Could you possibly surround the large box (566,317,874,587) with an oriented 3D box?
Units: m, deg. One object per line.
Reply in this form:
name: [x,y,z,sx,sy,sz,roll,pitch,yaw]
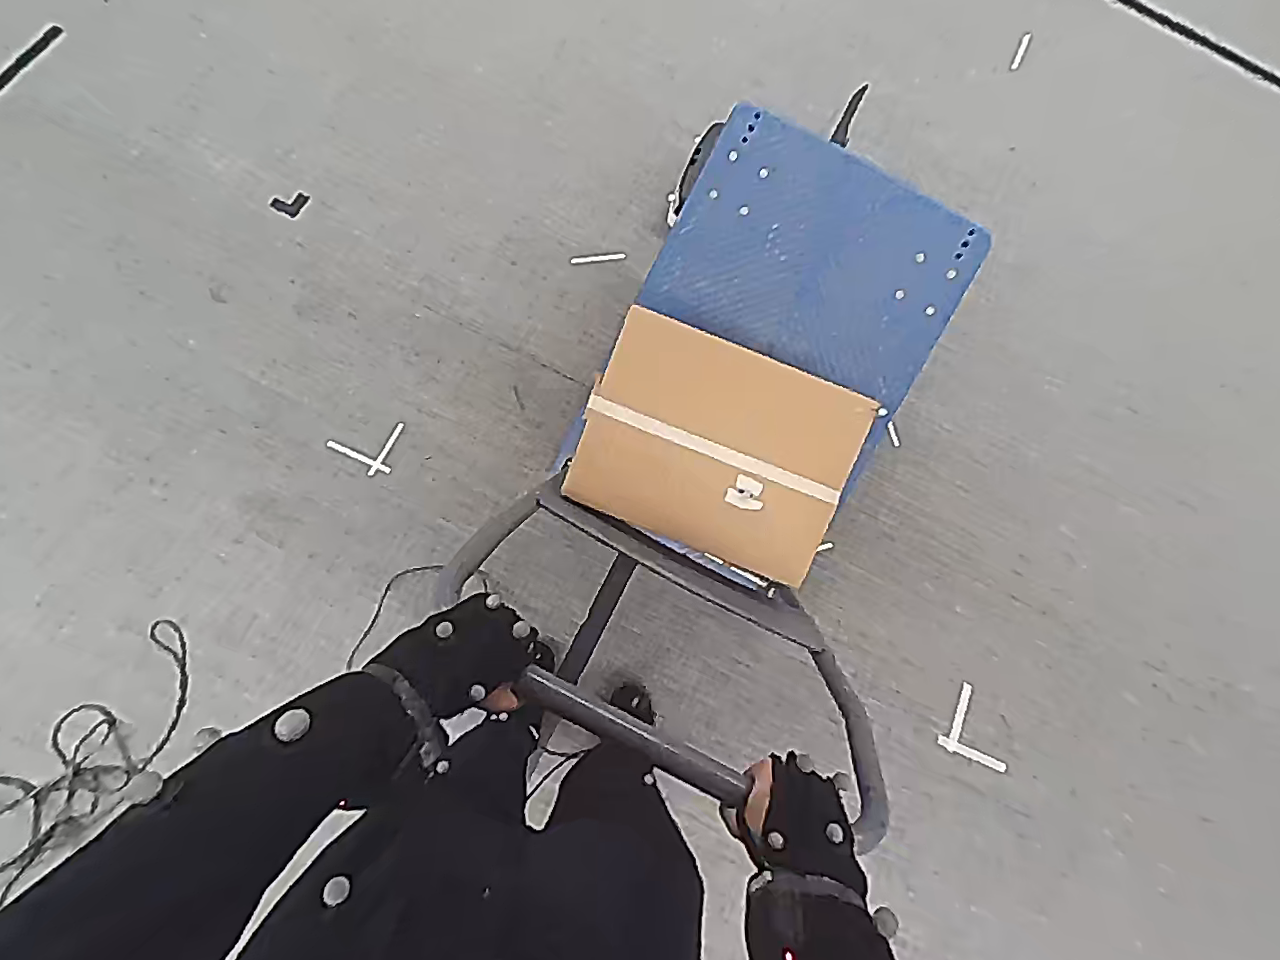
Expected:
large box: [0.121,-0.054,0.981,0.408,0.320,0.320,22,97,-1]
